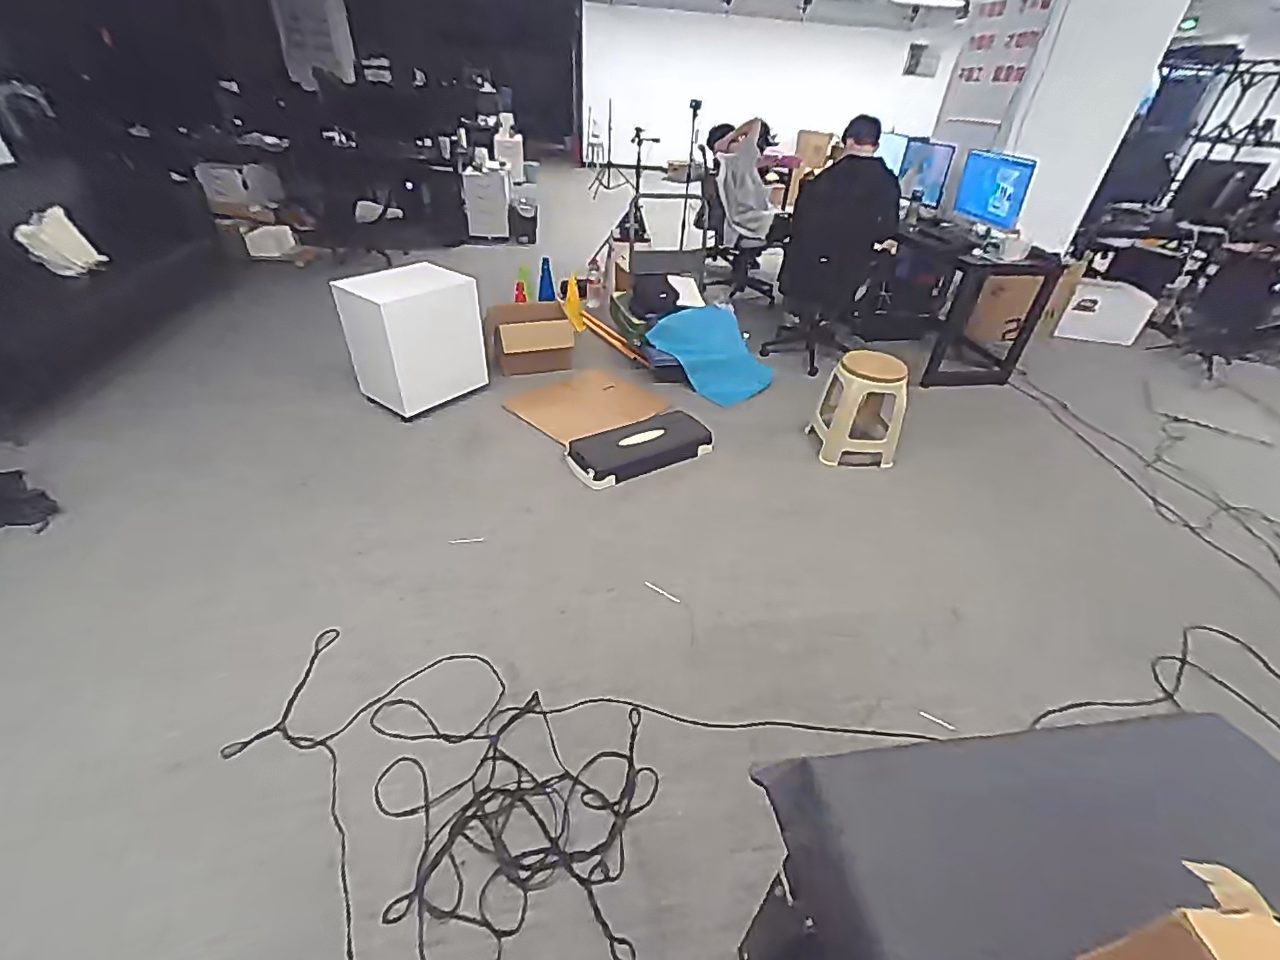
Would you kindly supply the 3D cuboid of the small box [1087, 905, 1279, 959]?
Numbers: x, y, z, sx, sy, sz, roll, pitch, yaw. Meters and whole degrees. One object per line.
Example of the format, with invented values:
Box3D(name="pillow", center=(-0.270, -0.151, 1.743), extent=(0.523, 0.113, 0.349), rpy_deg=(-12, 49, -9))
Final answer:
Box3D(name="small box", center=(0.517, 0.469, 0.424), extent=(0.168, 0.176, 0.179), rpy_deg=(3, 35, -3))
